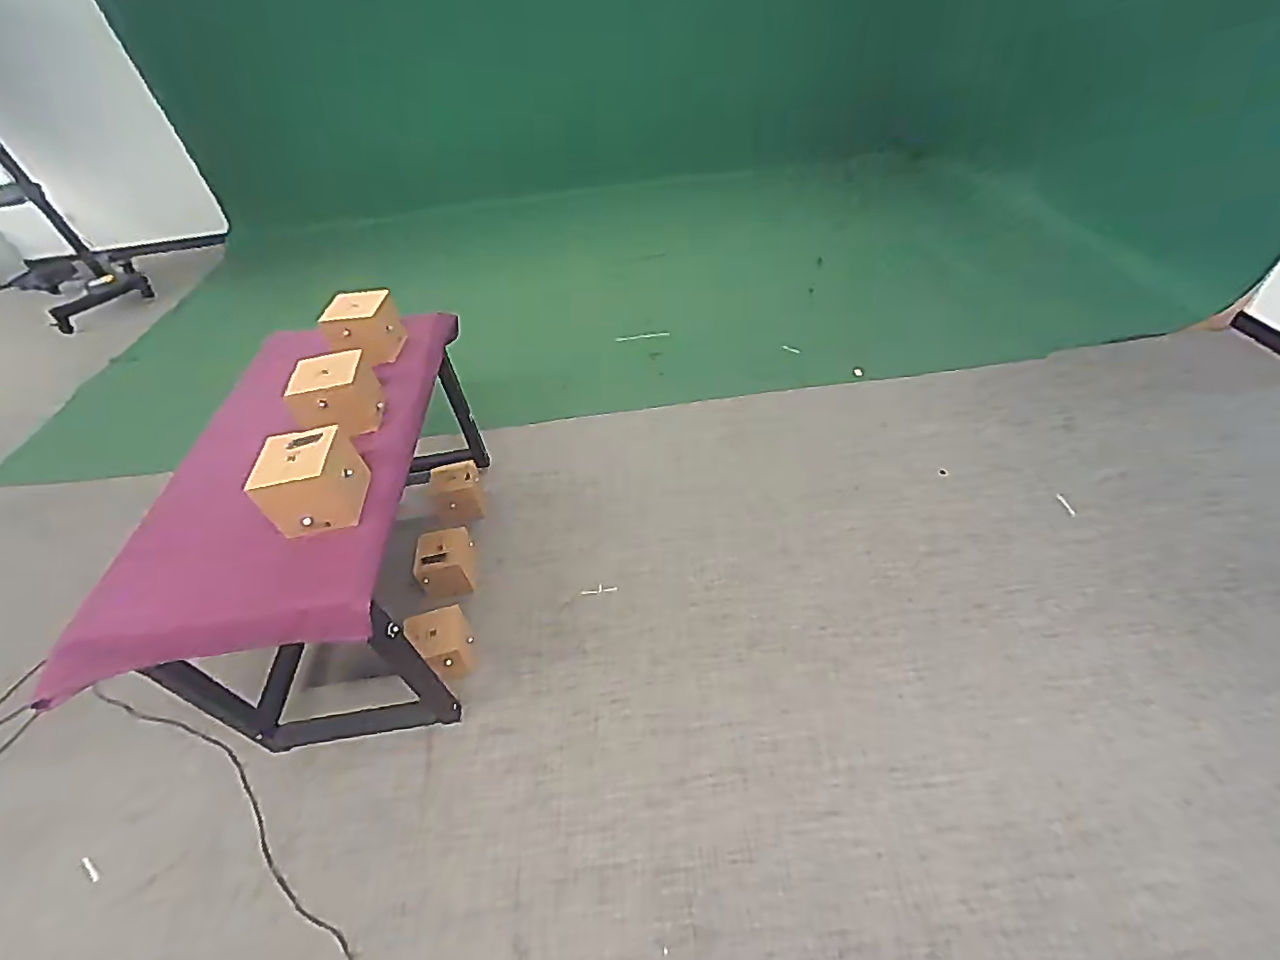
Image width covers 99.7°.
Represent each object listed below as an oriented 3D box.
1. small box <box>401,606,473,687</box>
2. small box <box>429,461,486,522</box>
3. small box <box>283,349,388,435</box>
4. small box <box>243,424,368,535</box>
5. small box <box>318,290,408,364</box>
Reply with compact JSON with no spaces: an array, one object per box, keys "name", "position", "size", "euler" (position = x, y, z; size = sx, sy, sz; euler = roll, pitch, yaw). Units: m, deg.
[{"name":"small box","position":[-0.641,0.532,1.725],"size":[0.179,0.176,0.168],"euler":[-14,46,-6]},{"name":"small box","position":[-0.744,0.050,2.211],"size":[0.179,0.176,0.168],"euler":[-13,45,-5]},{"name":"small box","position":[-0.823,-0.230,1.477],"size":[0.179,0.176,0.168],"euler":[-11,46,-3]},{"name":"small box","position":[-0.750,-0.001,1.238],"size":[0.168,0.176,0.179],"euler":[-11,46,-2]},{"name":"small box","position":[-0.877,-0.486,1.734],"size":[0.179,0.176,0.168],"euler":[-4,46,5]}]
